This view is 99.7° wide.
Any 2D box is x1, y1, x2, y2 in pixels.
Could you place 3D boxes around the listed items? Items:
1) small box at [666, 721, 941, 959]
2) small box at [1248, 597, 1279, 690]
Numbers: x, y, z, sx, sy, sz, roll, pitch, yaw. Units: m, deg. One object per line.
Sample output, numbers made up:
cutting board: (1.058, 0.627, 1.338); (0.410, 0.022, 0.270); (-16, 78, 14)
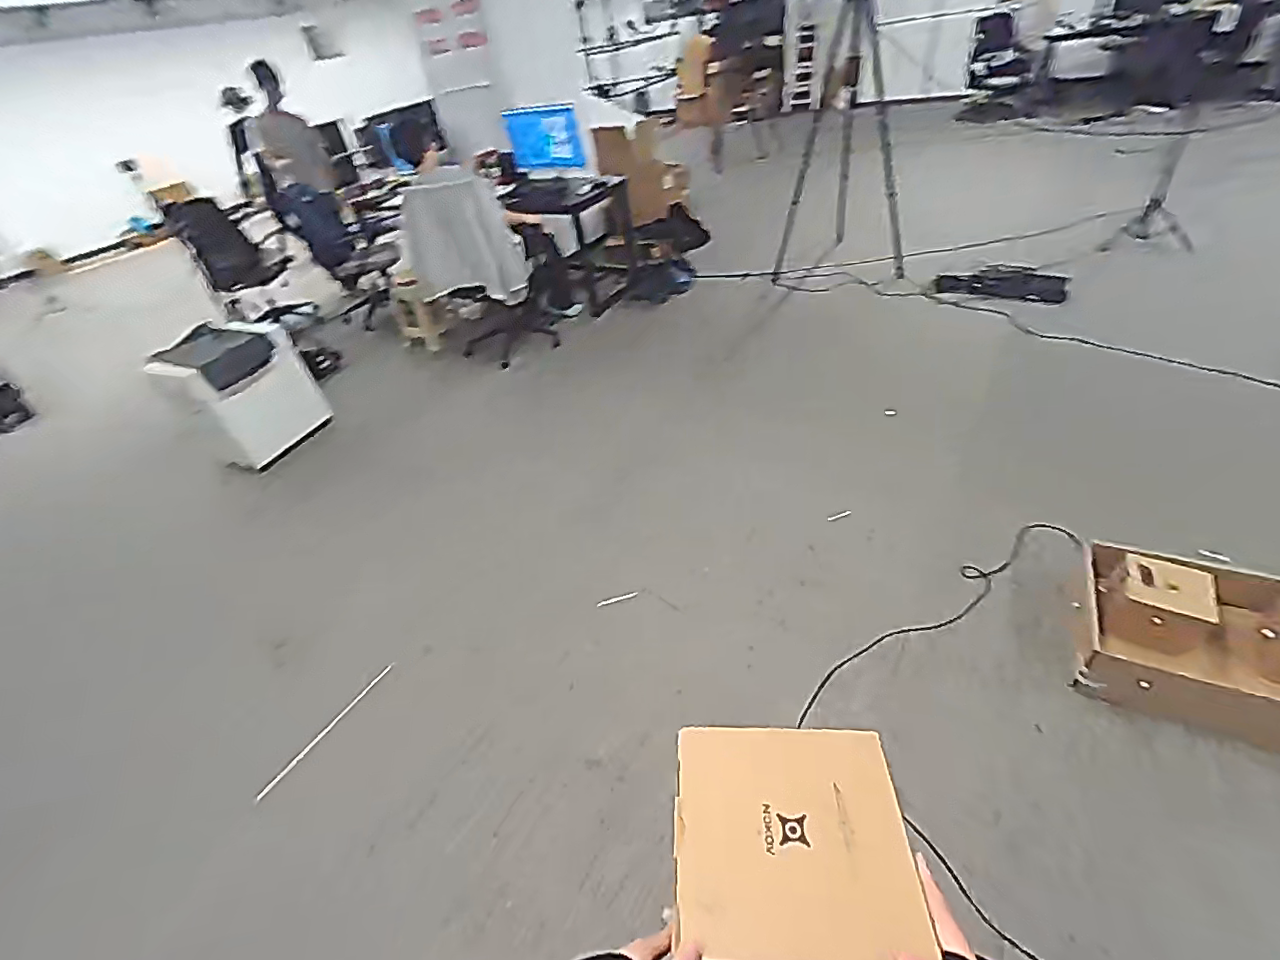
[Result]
small box: (0.120, 0.328, 0.454); (0.179, 0.176, 0.168); (-1, 34, 8)
small box: (1.635, 0.420, 1.308); (0.179, 0.176, 0.168); (16, 47, 29)
